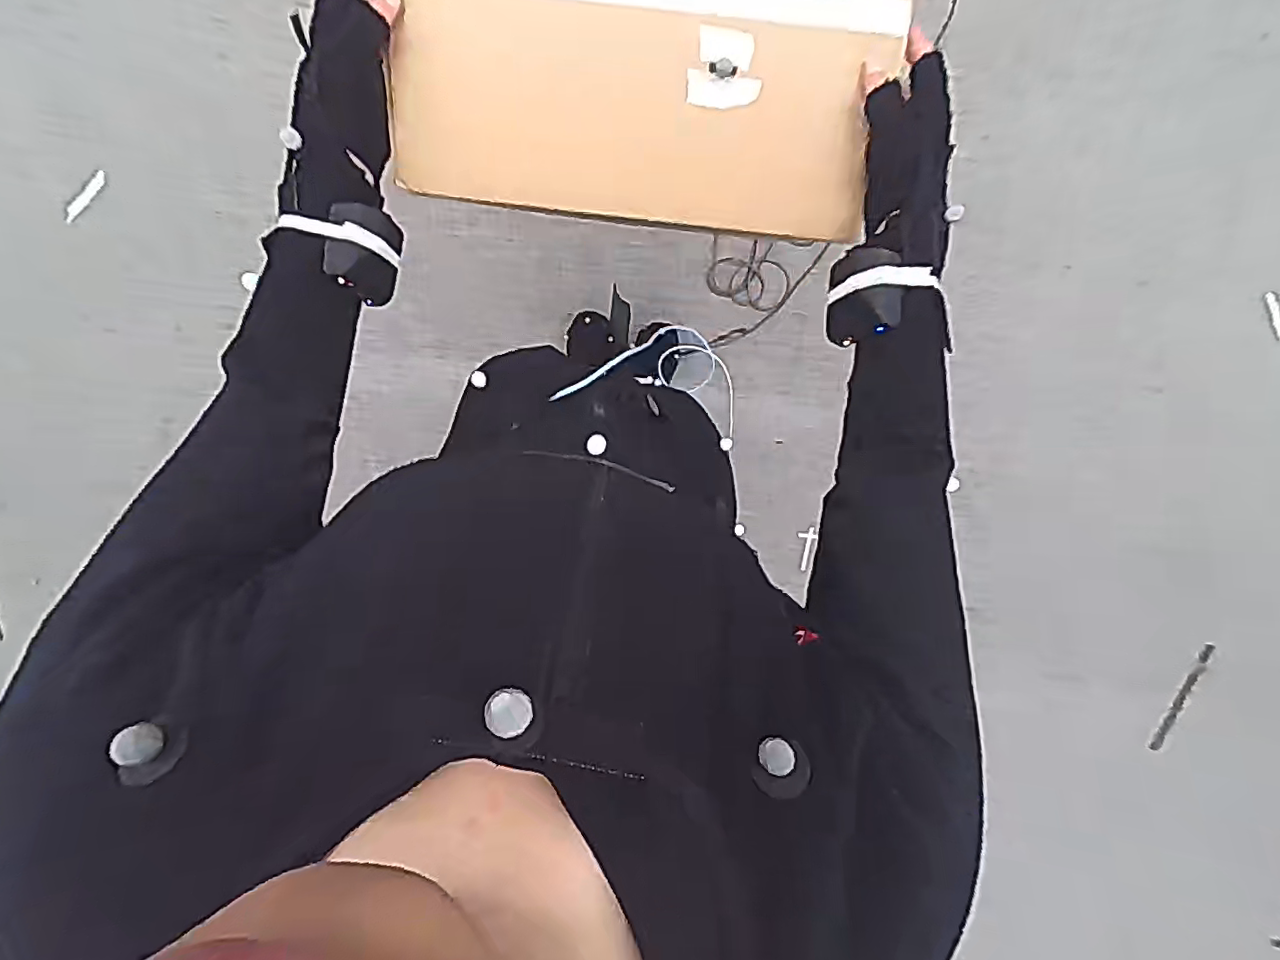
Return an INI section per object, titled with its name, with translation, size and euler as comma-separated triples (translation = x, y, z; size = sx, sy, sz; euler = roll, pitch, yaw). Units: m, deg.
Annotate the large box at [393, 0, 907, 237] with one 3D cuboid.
[large box]
translation = 0.008, -0.436, 0.551
size = 0.408, 0.320, 0.320
euler = 6, 115, -2
